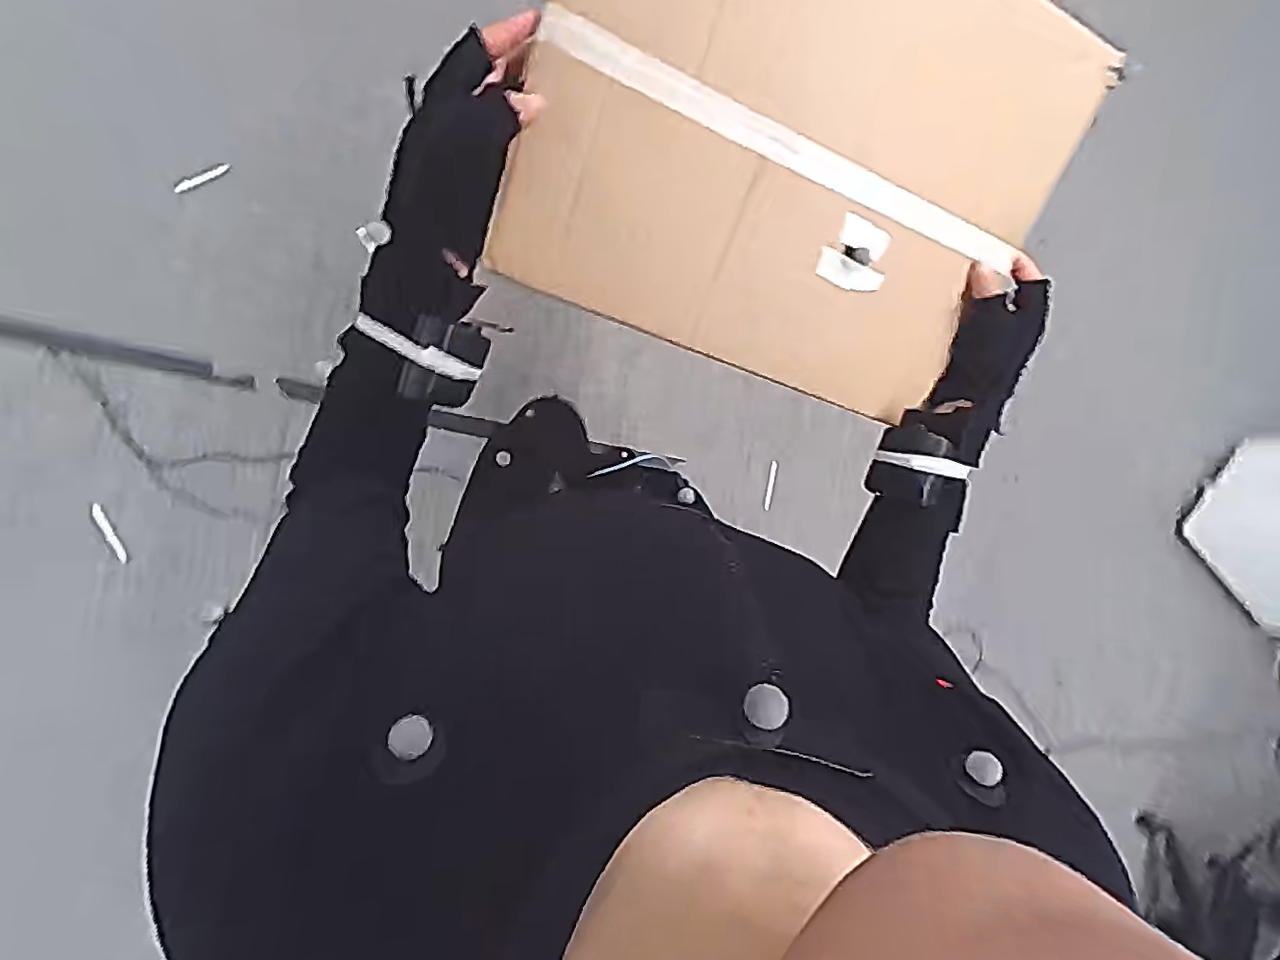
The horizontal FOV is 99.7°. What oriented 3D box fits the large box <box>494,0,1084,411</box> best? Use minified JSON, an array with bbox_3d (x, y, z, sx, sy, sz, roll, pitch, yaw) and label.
[{"bbox_3d":[0.093,-0.306,0.552,0.408,0.320,0.320,16,110,-17],"label":"large box"}]
